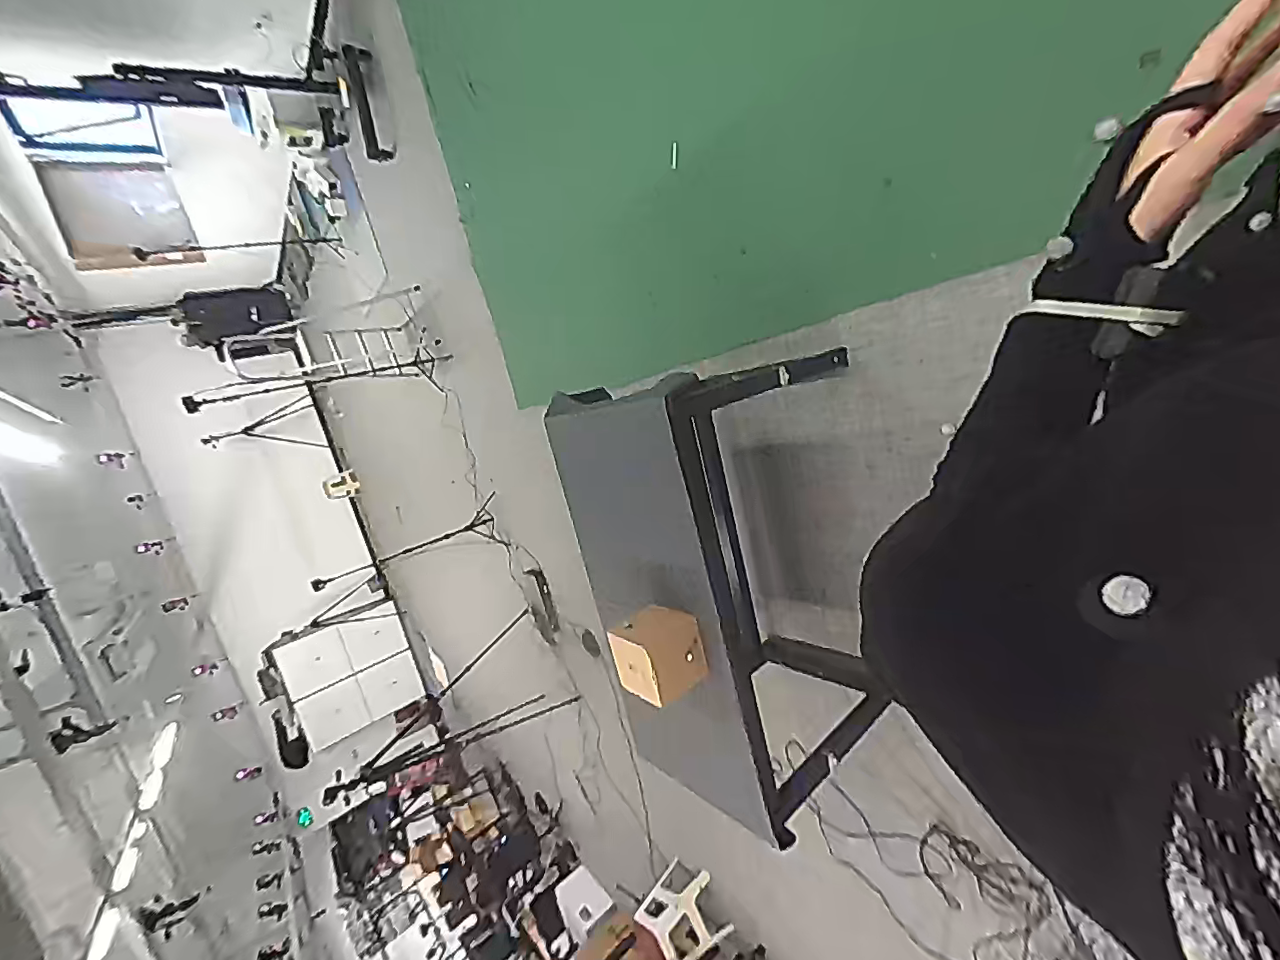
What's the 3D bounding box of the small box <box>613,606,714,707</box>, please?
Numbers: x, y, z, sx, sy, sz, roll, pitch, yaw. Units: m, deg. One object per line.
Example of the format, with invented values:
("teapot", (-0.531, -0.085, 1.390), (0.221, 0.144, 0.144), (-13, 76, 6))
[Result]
("small box", (0.061, 0.443, 1.395), (0.179, 0.176, 0.168), (1, 109, 54))
